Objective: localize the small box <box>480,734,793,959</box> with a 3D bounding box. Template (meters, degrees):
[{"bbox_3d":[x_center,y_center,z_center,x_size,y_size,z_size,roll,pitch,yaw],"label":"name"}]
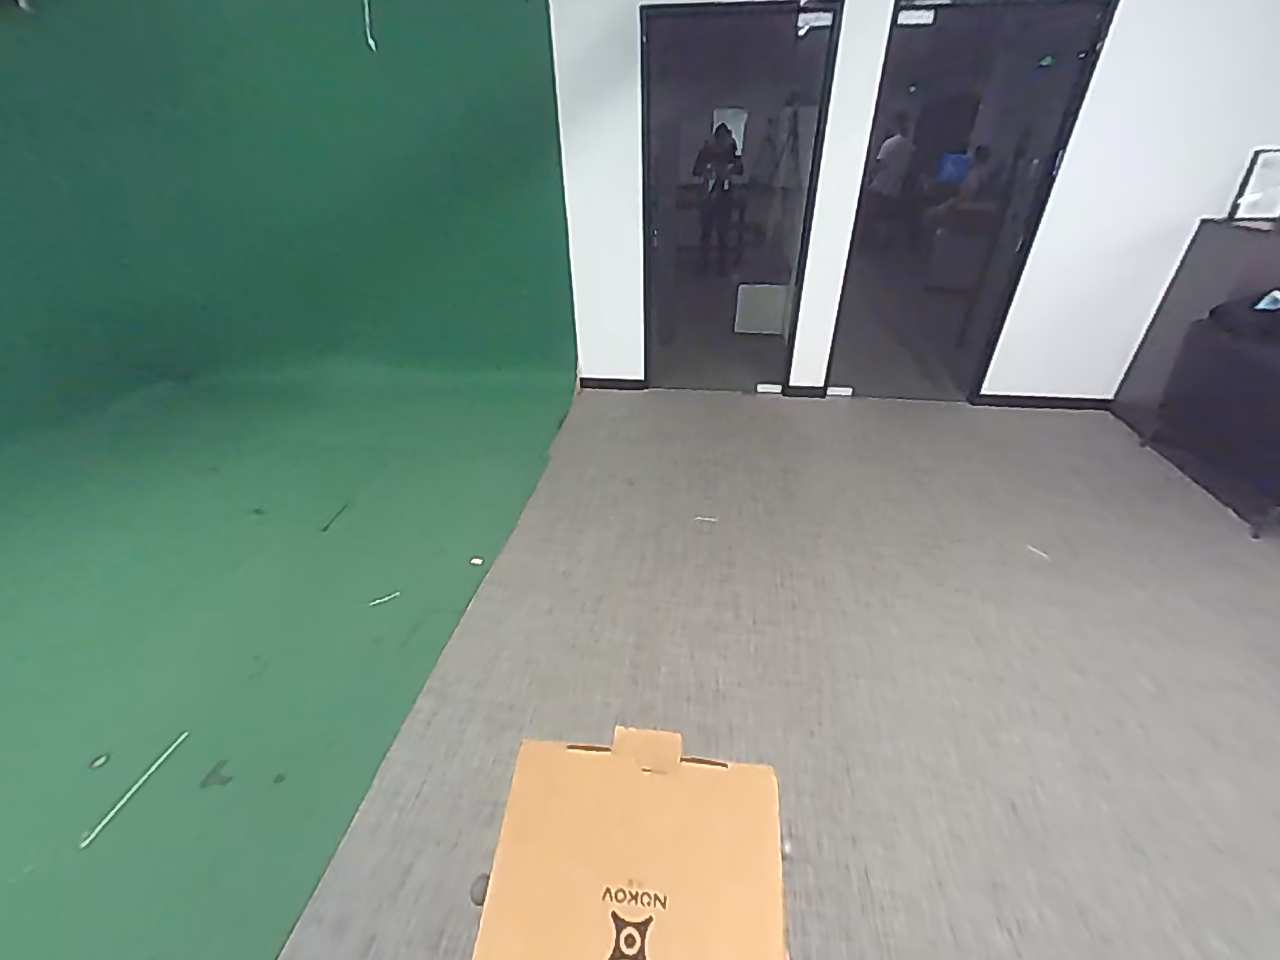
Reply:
[{"bbox_3d":[0.000,0.288,0.354,0.168,0.176,0.179,5,51,3],"label":"small box"}]
